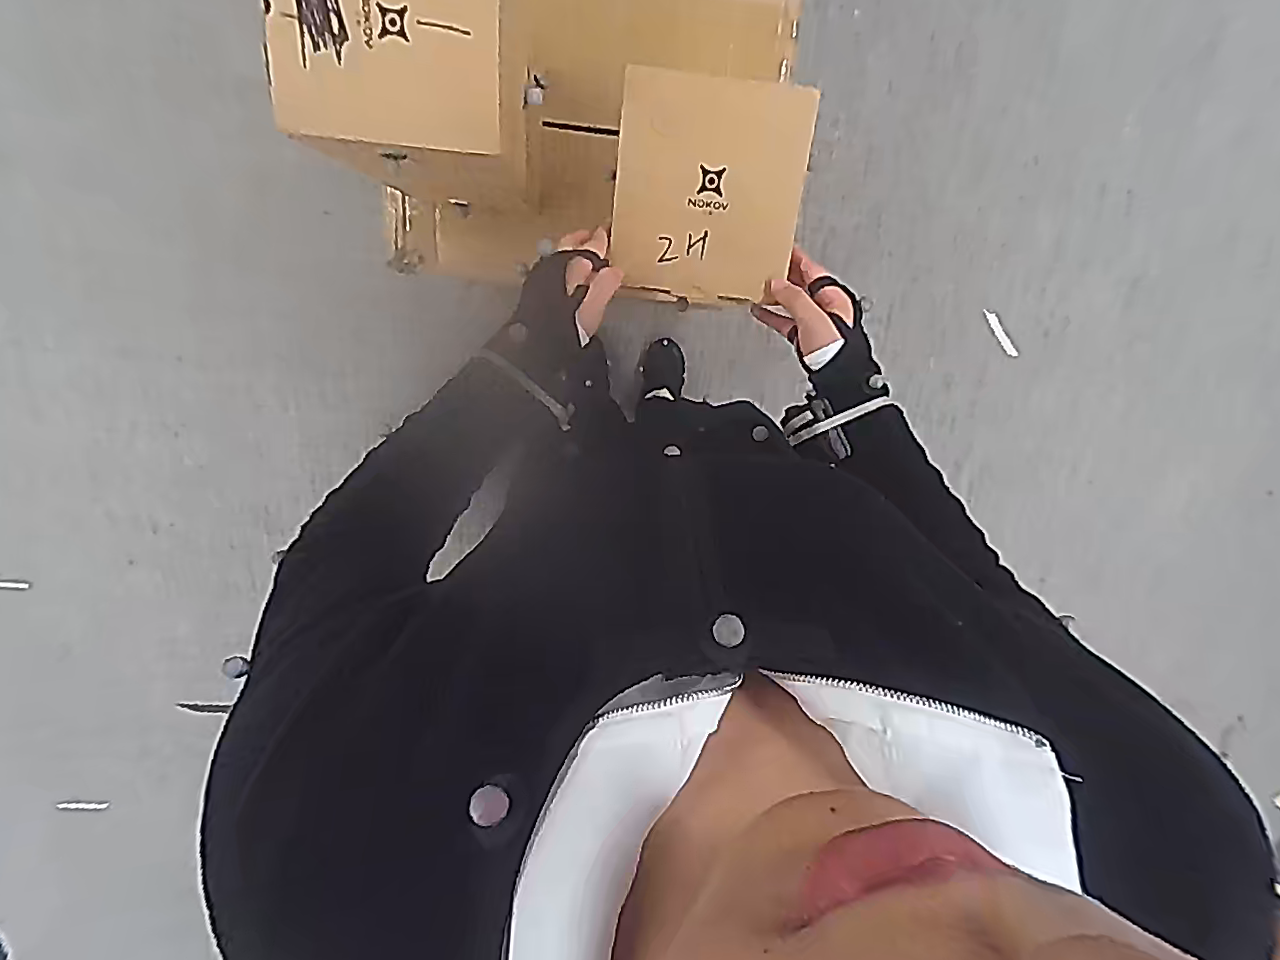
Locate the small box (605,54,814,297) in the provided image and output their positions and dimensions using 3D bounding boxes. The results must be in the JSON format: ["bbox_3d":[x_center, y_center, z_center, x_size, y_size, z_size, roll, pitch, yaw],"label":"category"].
[{"bbox_3d":[0.057,-0.288,0.552,0.168,0.176,0.179,6,109,-2],"label":"small box"}]

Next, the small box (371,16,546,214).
[{"bbox_3d":[-0.206,-0.428,0.637,0.168,0.176,0.179,4,110,-3],"label":"small box"}]

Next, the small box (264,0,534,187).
[{"bbox_3d":[-0.196,-0.373,0.482,0.179,0.176,0.168,3,109,-4],"label":"small box"}]
